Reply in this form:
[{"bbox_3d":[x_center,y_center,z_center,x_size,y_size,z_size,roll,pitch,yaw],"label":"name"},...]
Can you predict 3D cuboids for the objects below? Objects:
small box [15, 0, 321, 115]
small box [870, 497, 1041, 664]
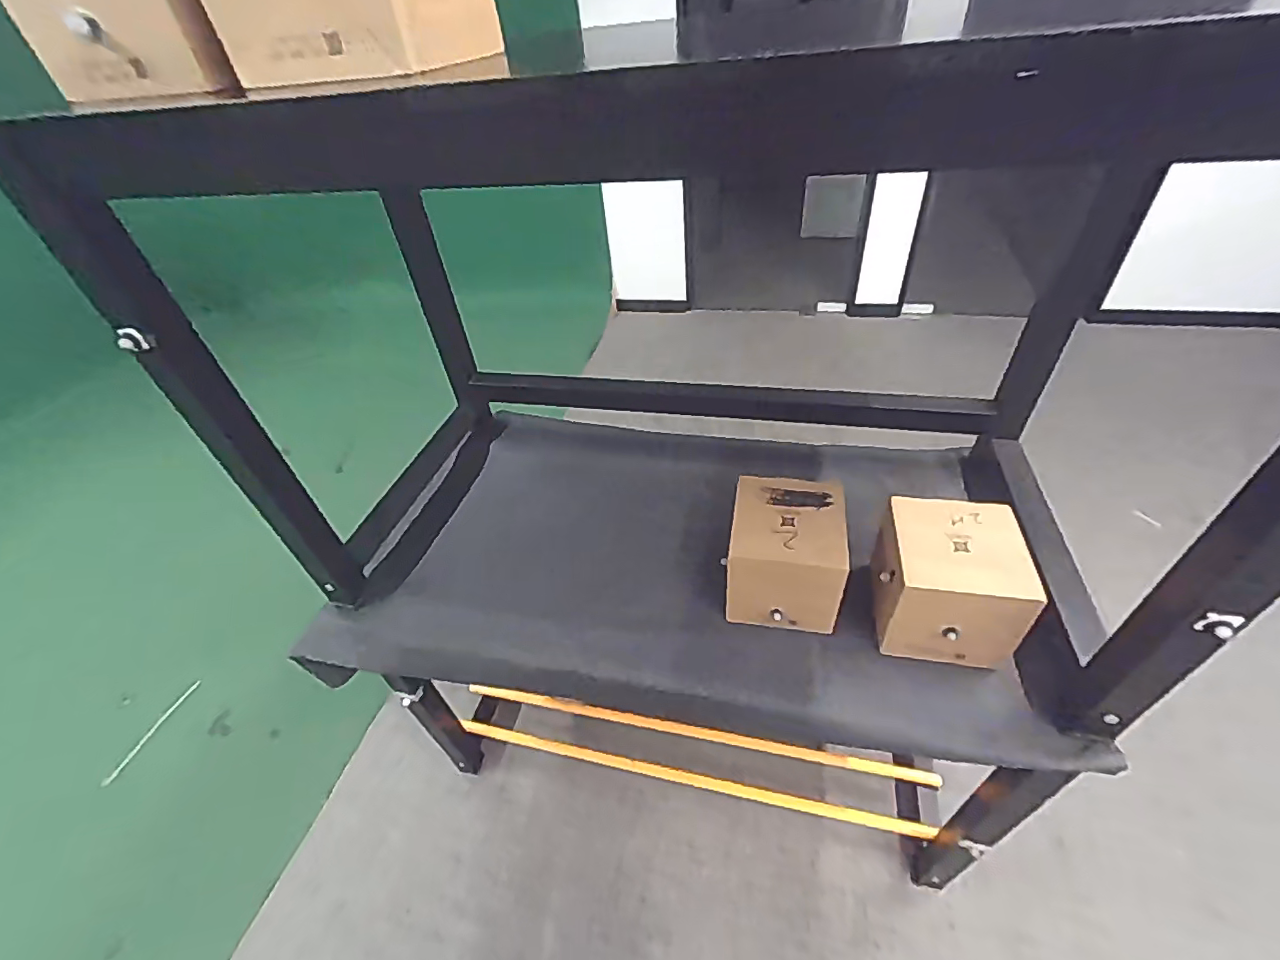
[{"bbox_3d":[-0.433,-0.447,0.493,0.168,0.176,0.179,5,44,13],"label":"small box"},{"bbox_3d":[0.448,0.149,0.803,0.168,0.176,0.179,4,42,12],"label":"small box"}]
